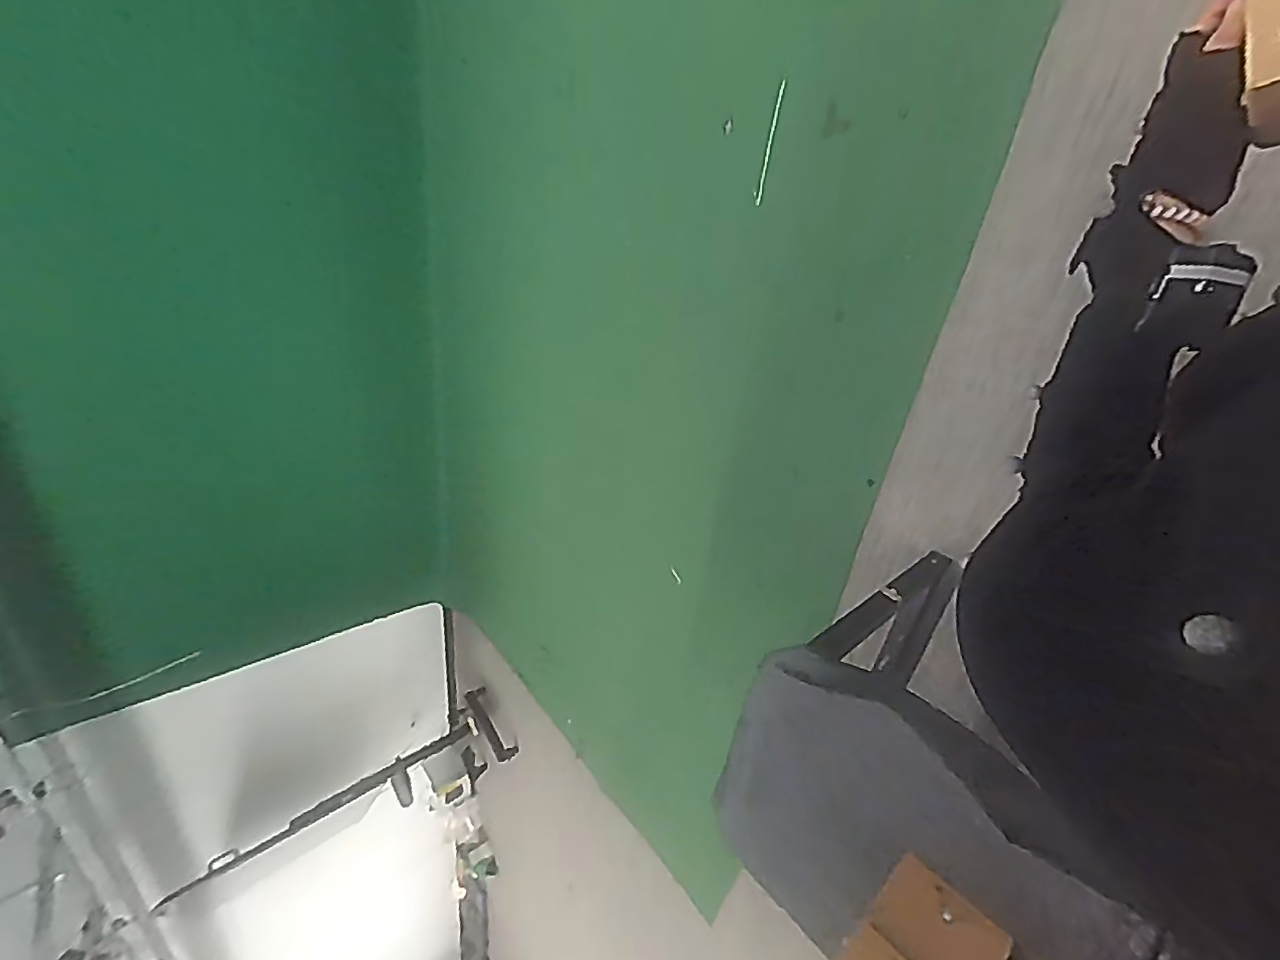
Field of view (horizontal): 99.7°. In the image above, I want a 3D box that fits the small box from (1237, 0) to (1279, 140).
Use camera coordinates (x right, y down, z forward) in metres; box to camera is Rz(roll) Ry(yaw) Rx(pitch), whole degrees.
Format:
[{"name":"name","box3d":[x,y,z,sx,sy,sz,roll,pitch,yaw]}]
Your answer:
[{"name":"small box","box3d":[0.459,-0.323,0.294,0.179,0.176,0.168,1,100,49]}]
